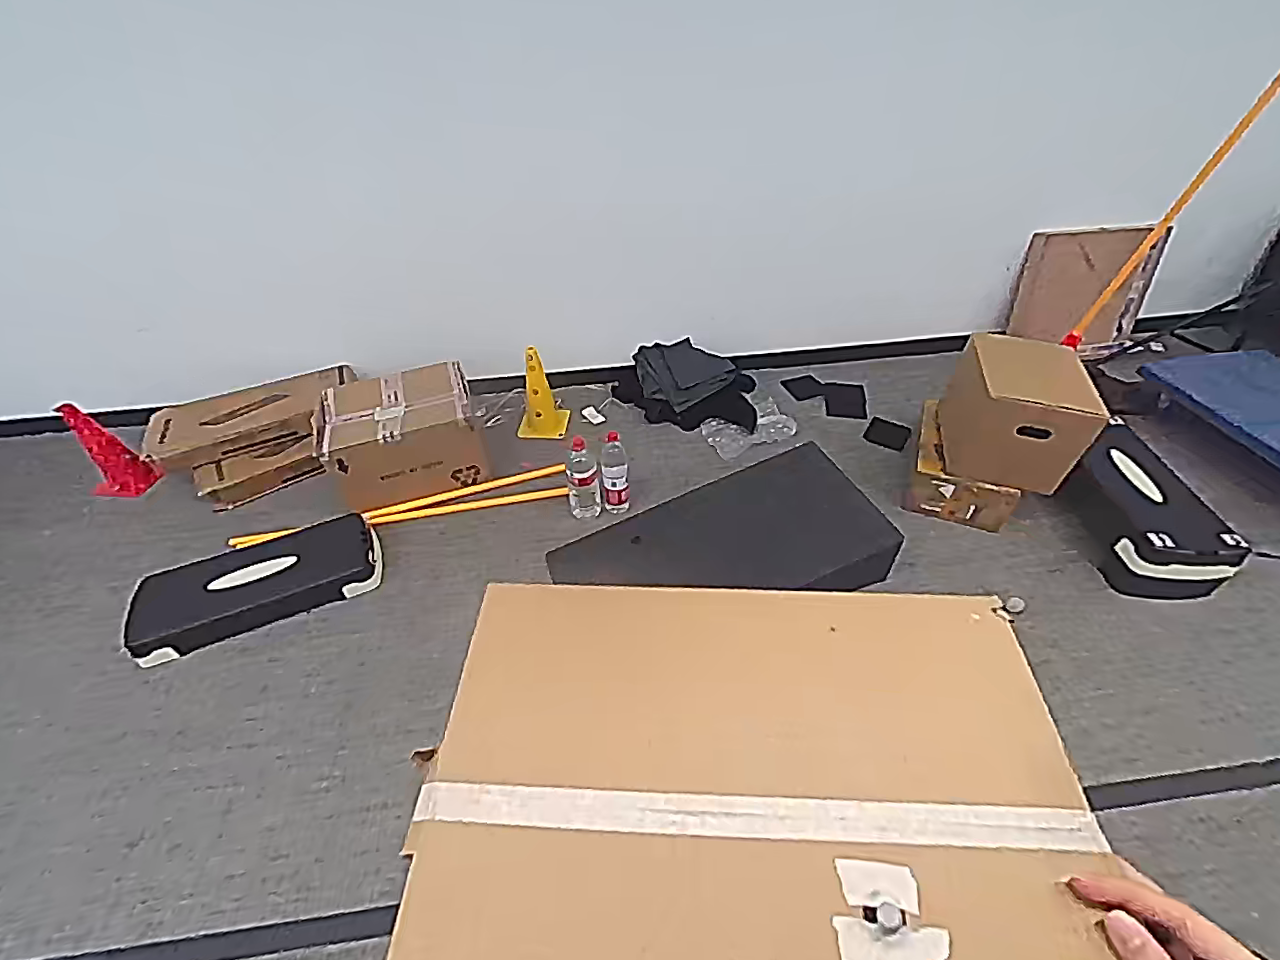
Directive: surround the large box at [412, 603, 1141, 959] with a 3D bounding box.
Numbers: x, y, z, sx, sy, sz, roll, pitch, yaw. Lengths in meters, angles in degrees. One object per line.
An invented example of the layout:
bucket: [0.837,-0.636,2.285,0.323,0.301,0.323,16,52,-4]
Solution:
large box: [0.076,0.315,0.446,0.408,0.320,0.320,1,49,2]
